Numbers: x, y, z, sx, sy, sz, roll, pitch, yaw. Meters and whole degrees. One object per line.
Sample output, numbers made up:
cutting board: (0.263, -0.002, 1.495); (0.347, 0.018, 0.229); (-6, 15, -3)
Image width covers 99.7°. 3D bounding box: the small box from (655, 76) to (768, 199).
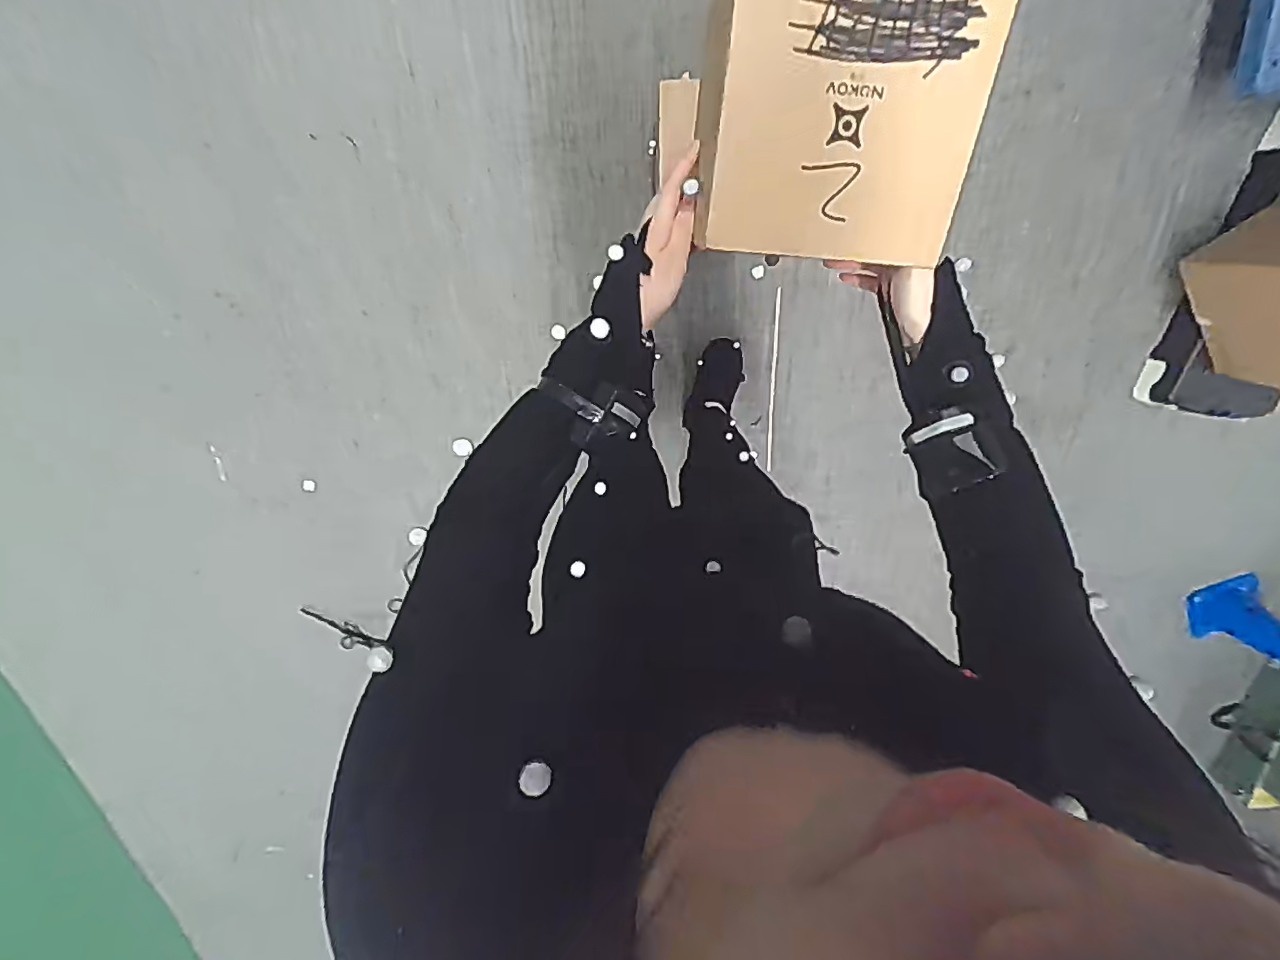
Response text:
small box: (0.116, -0.597, 0.960); (0.179, 0.176, 0.168); (0, 115, 0)
